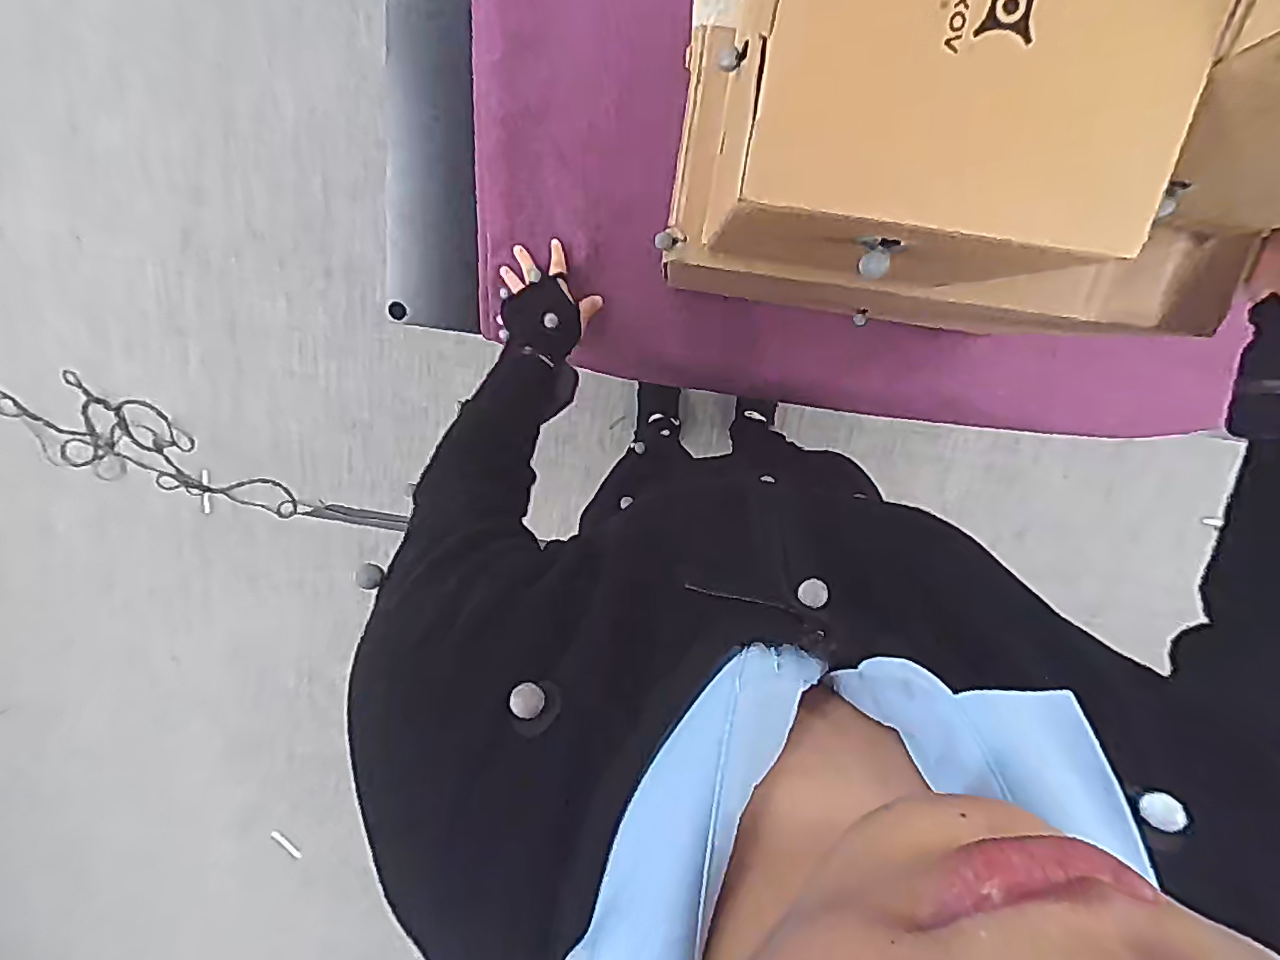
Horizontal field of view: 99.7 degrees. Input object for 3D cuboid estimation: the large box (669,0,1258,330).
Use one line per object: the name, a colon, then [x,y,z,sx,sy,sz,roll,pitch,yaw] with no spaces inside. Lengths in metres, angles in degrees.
large box: [0.246,-0.316,0.497,0.408,0.320,0.320,8,104,2]
